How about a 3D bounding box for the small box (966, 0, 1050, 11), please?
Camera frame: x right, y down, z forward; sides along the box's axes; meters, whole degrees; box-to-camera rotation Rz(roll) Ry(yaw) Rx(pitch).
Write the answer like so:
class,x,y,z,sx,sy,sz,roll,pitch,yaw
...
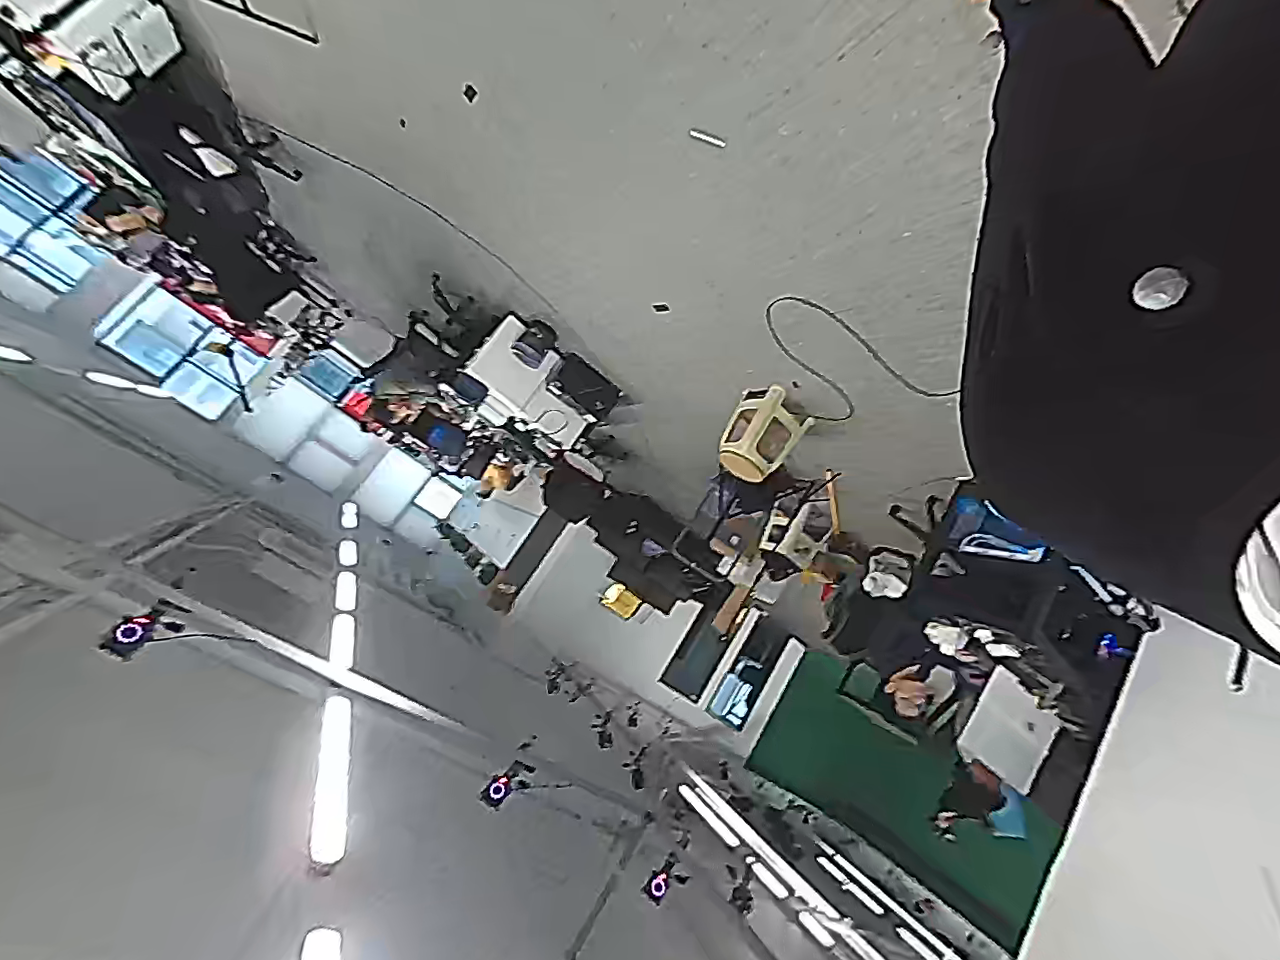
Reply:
class,x,y,z,sx,sy,sz,roll,pitch,yaw
small box,0.442,-0.626,0.538,0.176,0.179,0.168,-4,171,-2
